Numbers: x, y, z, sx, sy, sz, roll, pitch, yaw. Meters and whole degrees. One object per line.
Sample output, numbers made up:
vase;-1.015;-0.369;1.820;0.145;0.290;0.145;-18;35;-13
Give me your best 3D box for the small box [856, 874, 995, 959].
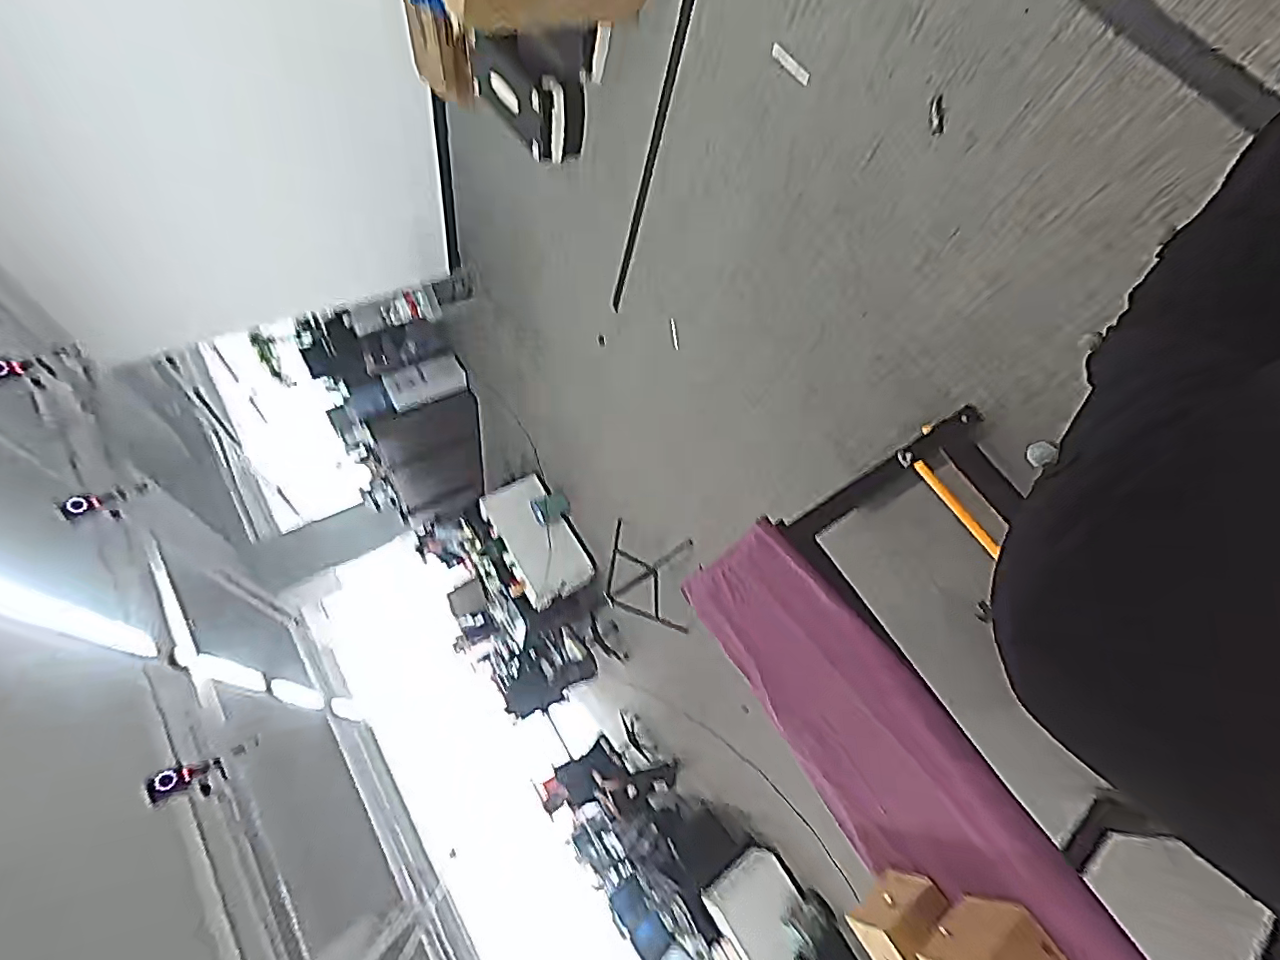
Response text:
small box;0.631;1.024;1.204;0.179;0.176;0.168;54;154;19
